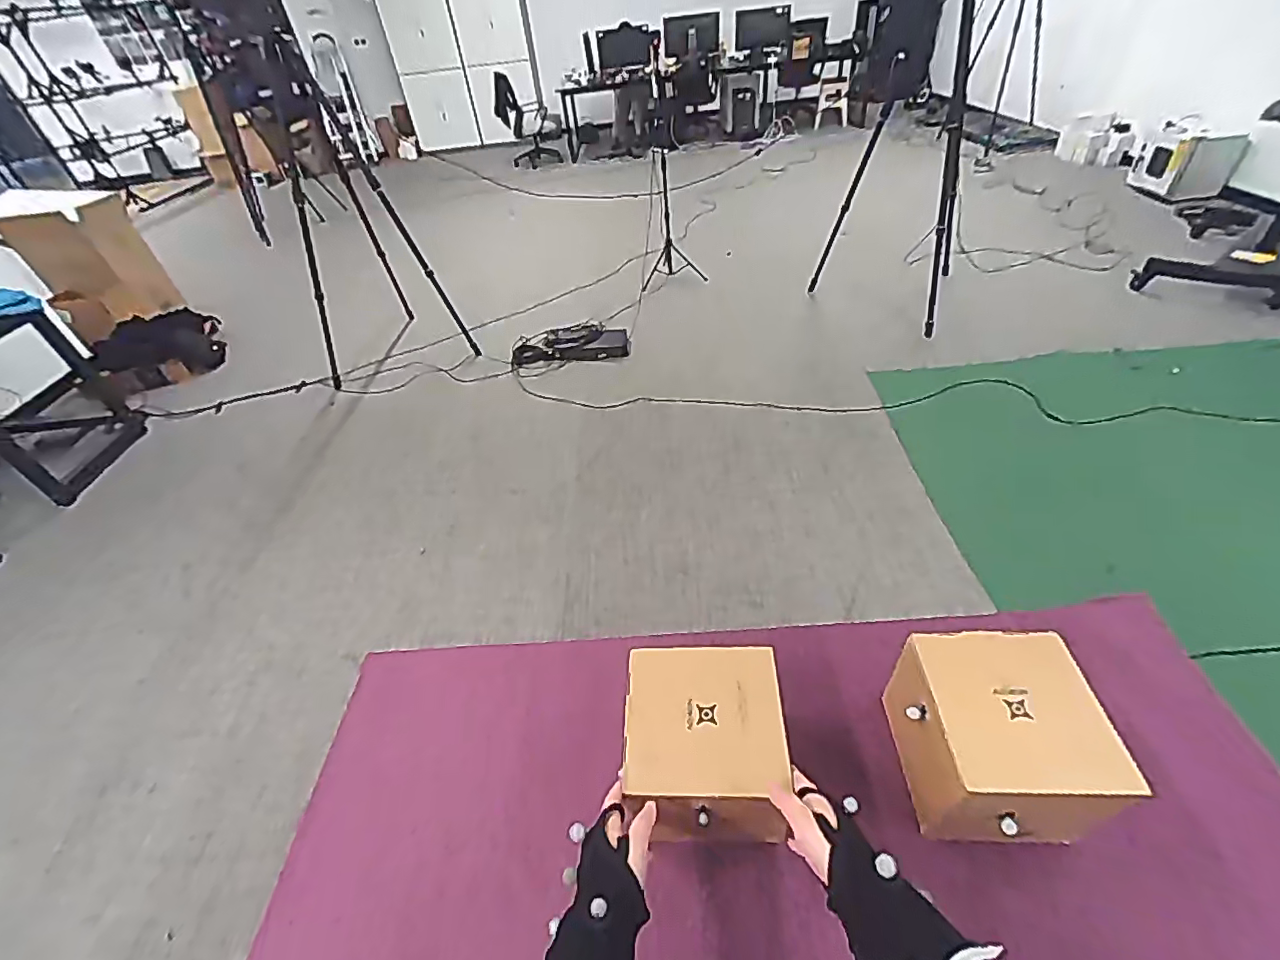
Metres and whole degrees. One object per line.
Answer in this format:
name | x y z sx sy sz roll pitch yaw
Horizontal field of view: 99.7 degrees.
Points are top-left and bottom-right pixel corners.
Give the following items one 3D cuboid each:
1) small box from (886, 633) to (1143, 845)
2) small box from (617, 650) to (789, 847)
small box | 0.403 0.299 0.623 0.168 0.176 0.179 -3 41 7
small box | 0.076 0.323 0.651 0.179 0.176 0.168 -2 43 6
